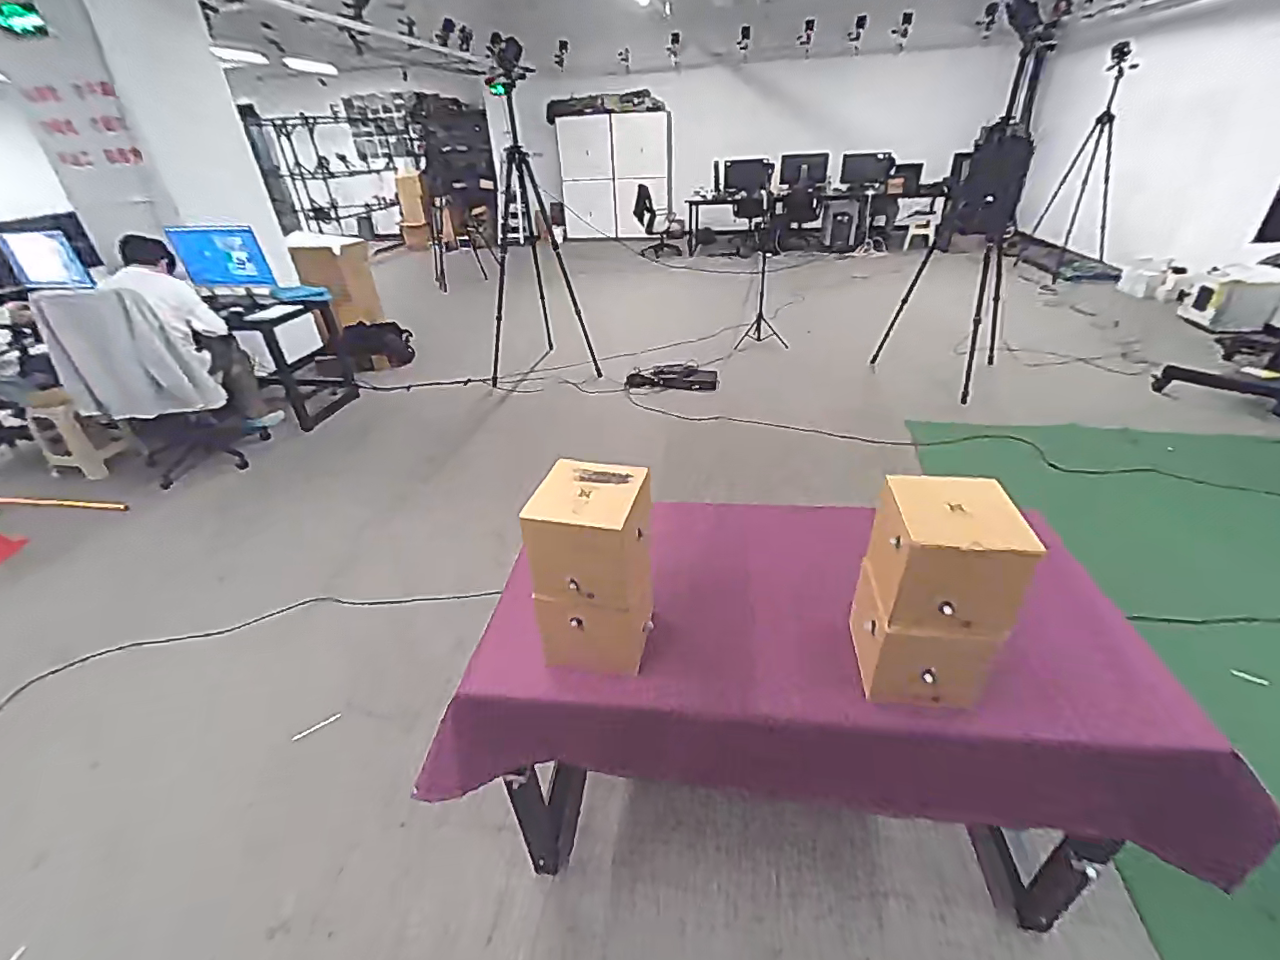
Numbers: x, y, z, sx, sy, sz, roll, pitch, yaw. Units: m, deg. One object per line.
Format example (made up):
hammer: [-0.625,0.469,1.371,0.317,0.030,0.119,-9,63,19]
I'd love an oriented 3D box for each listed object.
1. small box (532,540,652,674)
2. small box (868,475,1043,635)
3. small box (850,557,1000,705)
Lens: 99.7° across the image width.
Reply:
small box: [-0.079,0.232,0.991,0.179,0.176,0.168,4,33,10]
small box: [0.460,0.110,0.827,0.168,0.176,0.179,2,34,9]
small box: [0.462,0.252,0.909,0.168,0.176,0.179,2,33,8]
